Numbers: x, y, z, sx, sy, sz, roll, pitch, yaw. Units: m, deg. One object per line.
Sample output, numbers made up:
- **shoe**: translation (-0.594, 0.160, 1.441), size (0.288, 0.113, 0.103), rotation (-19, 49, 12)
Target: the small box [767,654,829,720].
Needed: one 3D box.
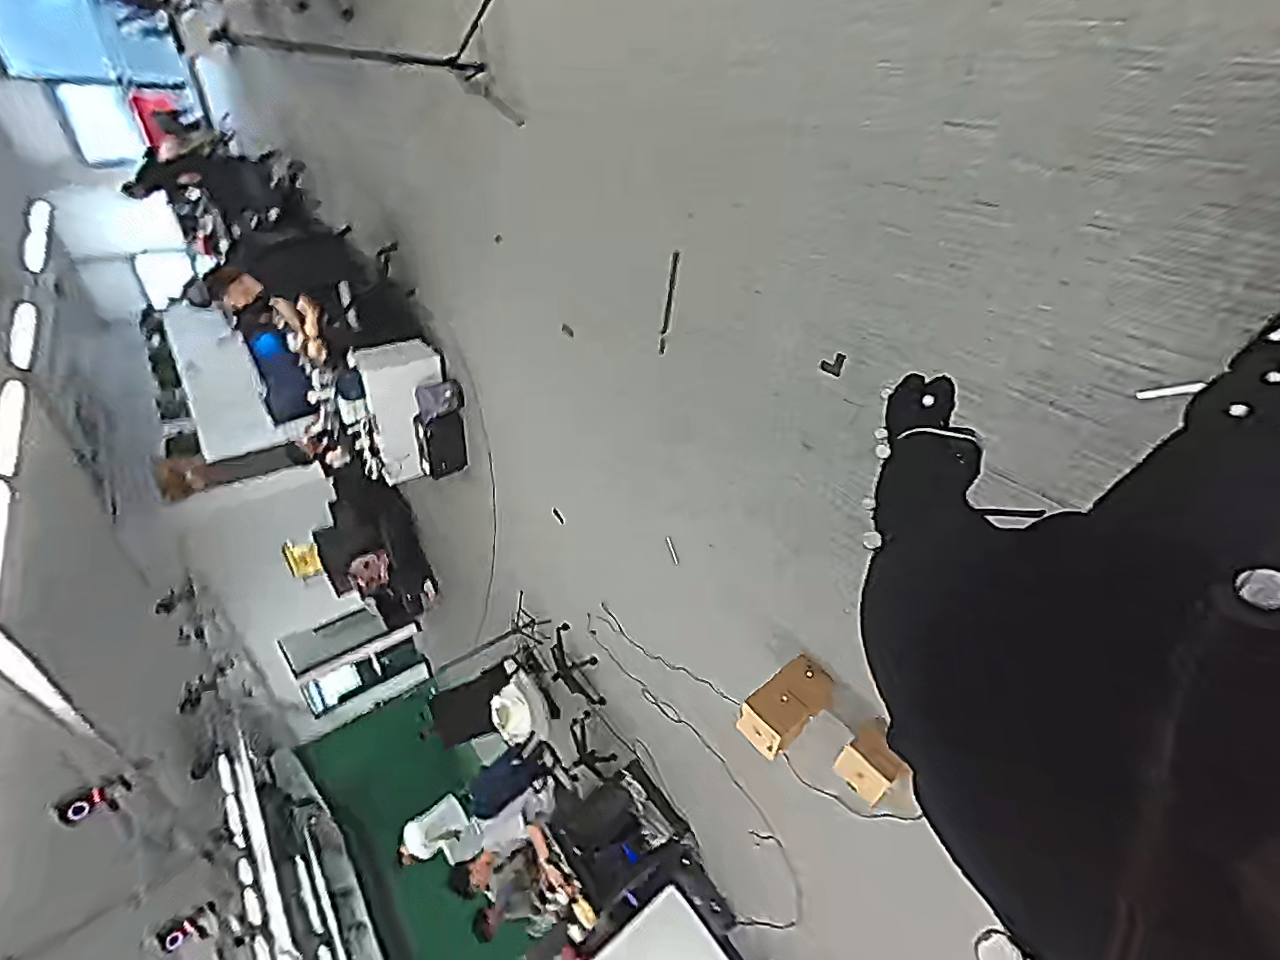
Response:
- **small box**: translation (0.598, 0.811, 2.081), size (0.168, 0.176, 0.179), rotation (38, 137, 37)

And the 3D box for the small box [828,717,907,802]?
- **small box**: translation (0.800, 0.976, 1.894), size (0.168, 0.176, 0.179), rotation (41, 138, 34)

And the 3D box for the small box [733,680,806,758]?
- **small box**: translation (0.474, 0.868, 1.989), size (0.179, 0.176, 0.168), rotation (39, 138, 38)
